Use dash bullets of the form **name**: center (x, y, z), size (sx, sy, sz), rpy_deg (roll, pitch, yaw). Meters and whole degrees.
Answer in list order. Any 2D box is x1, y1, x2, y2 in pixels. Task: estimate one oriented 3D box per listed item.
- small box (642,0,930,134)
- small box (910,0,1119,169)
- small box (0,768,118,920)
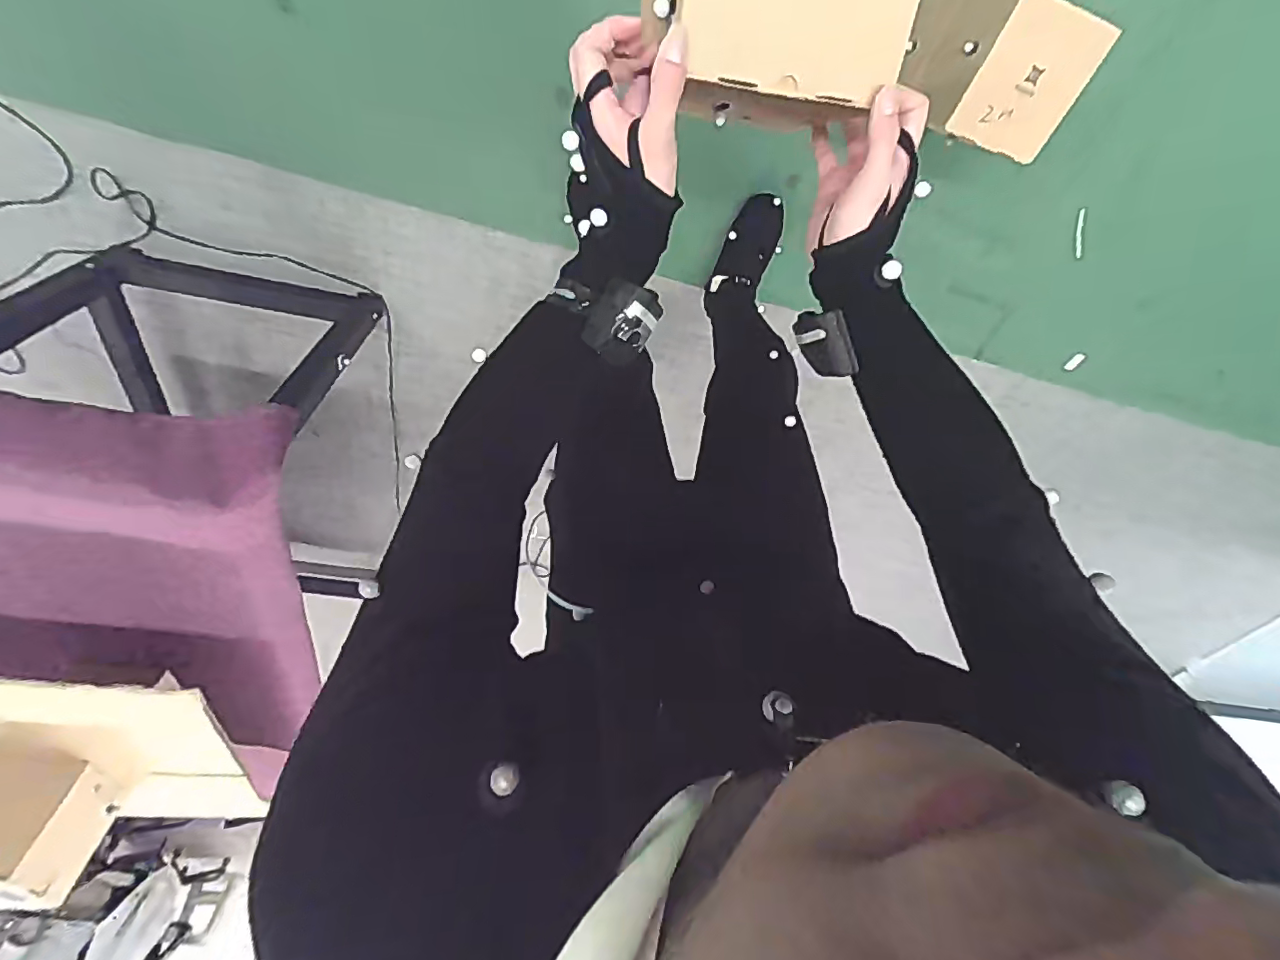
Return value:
- **small box**: center (0.101, -0.376, 0.405), size (0.168, 0.176, 0.179), rpy_deg (0, 120, -12)
- **small box**: center (0.562, -0.624, 0.845), size (0.168, 0.176, 0.179), rpy_deg (12, 130, -13)
- **small box**: center (-1.008, 0.586, 0.874), size (0.179, 0.176, 0.168), rpy_deg (8, 129, -9)
